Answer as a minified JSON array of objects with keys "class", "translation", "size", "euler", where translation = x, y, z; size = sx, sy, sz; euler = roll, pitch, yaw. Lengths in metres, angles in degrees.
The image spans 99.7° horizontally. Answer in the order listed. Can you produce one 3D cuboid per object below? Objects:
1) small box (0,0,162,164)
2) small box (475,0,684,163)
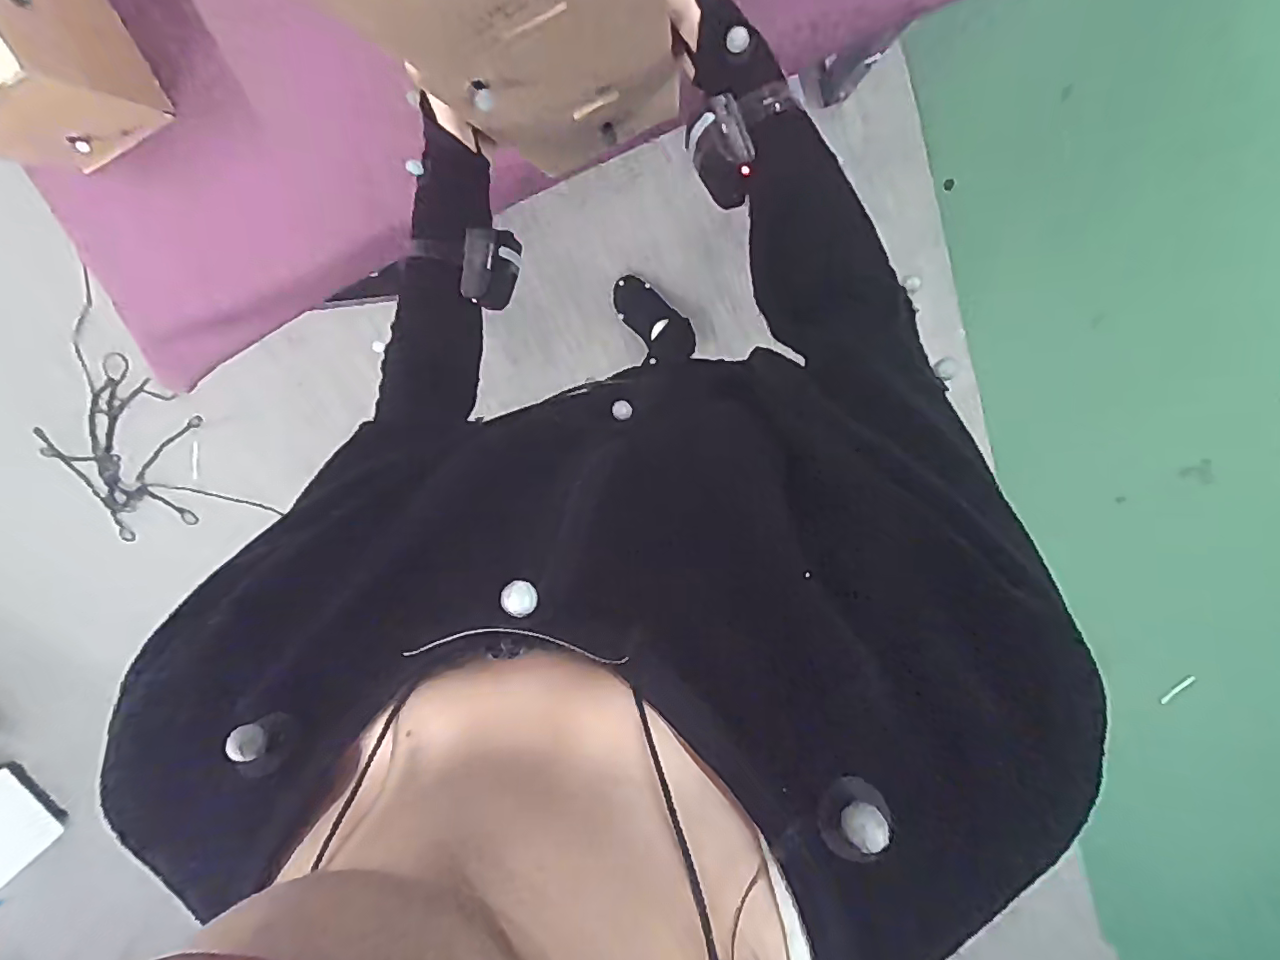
[{"class":"small box","translation":[-0.692,-0.474,0.579],"size":[0.168,0.176,0.179],"euler":[-19,109,13]},{"class":"small box","translation":[-0.064,-0.428,0.513],"size":[0.168,0.176,0.179],"euler":[-21,108,10]}]
